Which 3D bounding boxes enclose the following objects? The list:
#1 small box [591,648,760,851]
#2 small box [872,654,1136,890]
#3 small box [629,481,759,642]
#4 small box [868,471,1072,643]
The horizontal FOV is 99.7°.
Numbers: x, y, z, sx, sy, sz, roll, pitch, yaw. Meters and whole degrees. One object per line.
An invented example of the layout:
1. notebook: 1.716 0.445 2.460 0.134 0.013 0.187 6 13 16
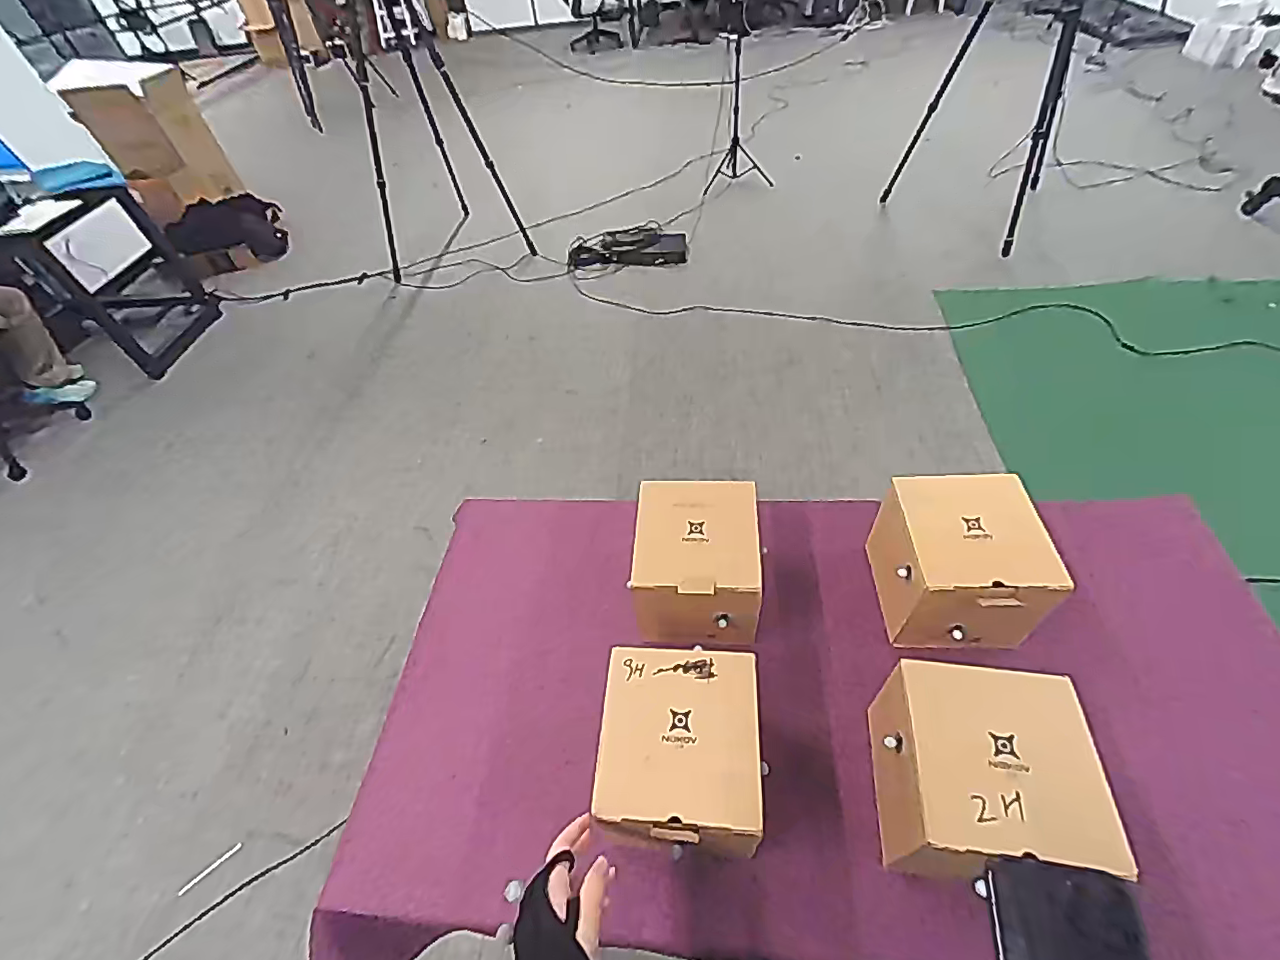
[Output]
1. small box: 0.049 0.312 0.623 0.168 0.176 0.179 0 50 8
2. small box: 0.357 0.311 0.578 0.168 0.176 0.179 3 50 11
3. small box: 0.082 0.120 0.783 0.168 0.176 0.179 0 50 7
4. small box: 0.429 0.107 0.745 0.168 0.176 0.179 -3 50 6
